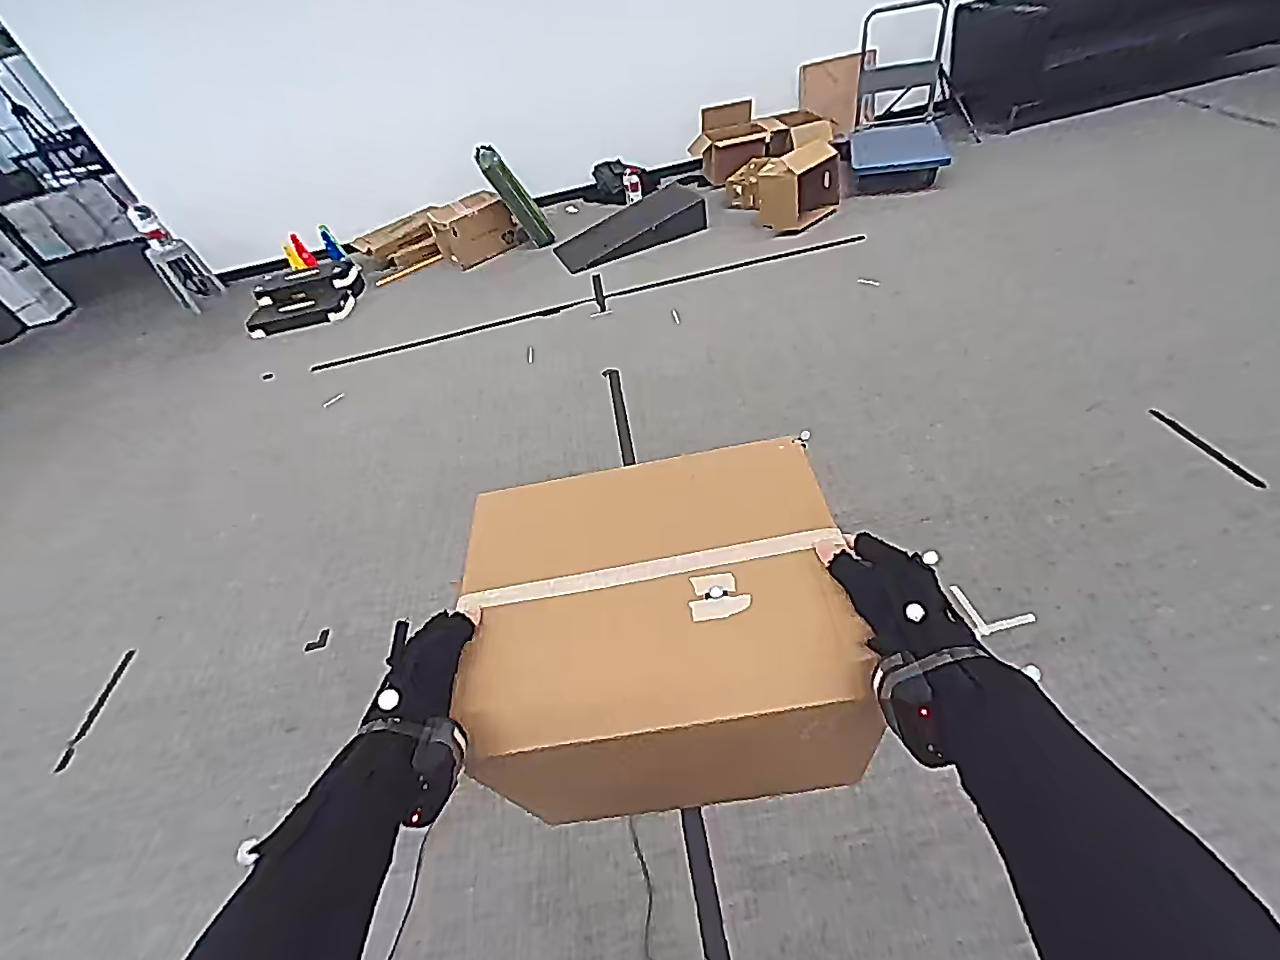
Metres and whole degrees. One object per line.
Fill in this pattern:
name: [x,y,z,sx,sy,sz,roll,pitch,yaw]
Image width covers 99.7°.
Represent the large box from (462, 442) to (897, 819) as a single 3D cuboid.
large box: [0.039,0.197,0.685,0.408,0.320,0.320,-10,48,3]
